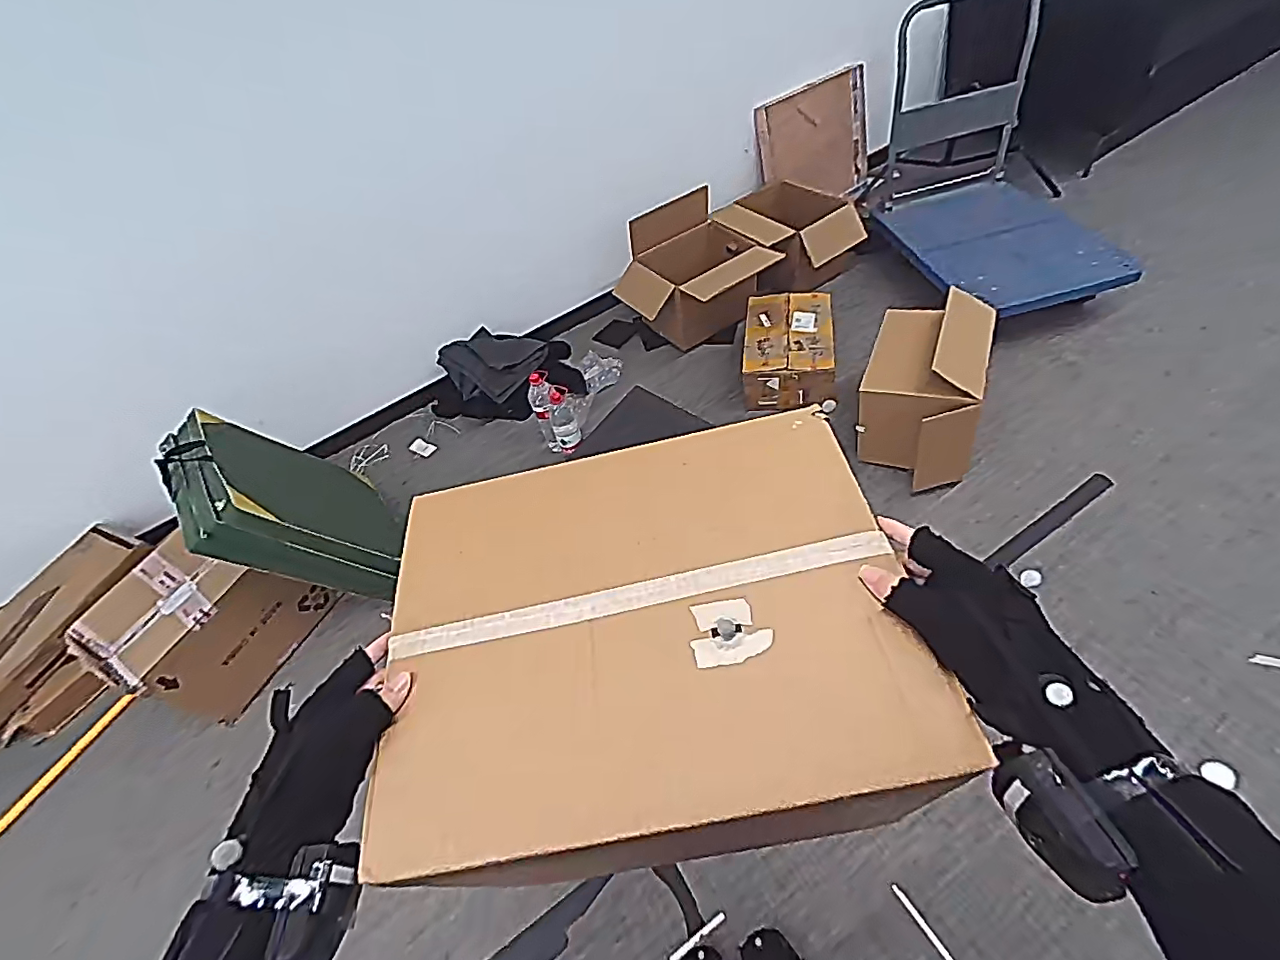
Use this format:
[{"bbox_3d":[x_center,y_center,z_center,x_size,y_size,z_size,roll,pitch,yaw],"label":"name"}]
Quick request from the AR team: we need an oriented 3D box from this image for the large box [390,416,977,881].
[{"bbox_3d":[0.027,0.187,0.559,0.408,0.320,0.320,-12,52,3],"label":"large box"}]
